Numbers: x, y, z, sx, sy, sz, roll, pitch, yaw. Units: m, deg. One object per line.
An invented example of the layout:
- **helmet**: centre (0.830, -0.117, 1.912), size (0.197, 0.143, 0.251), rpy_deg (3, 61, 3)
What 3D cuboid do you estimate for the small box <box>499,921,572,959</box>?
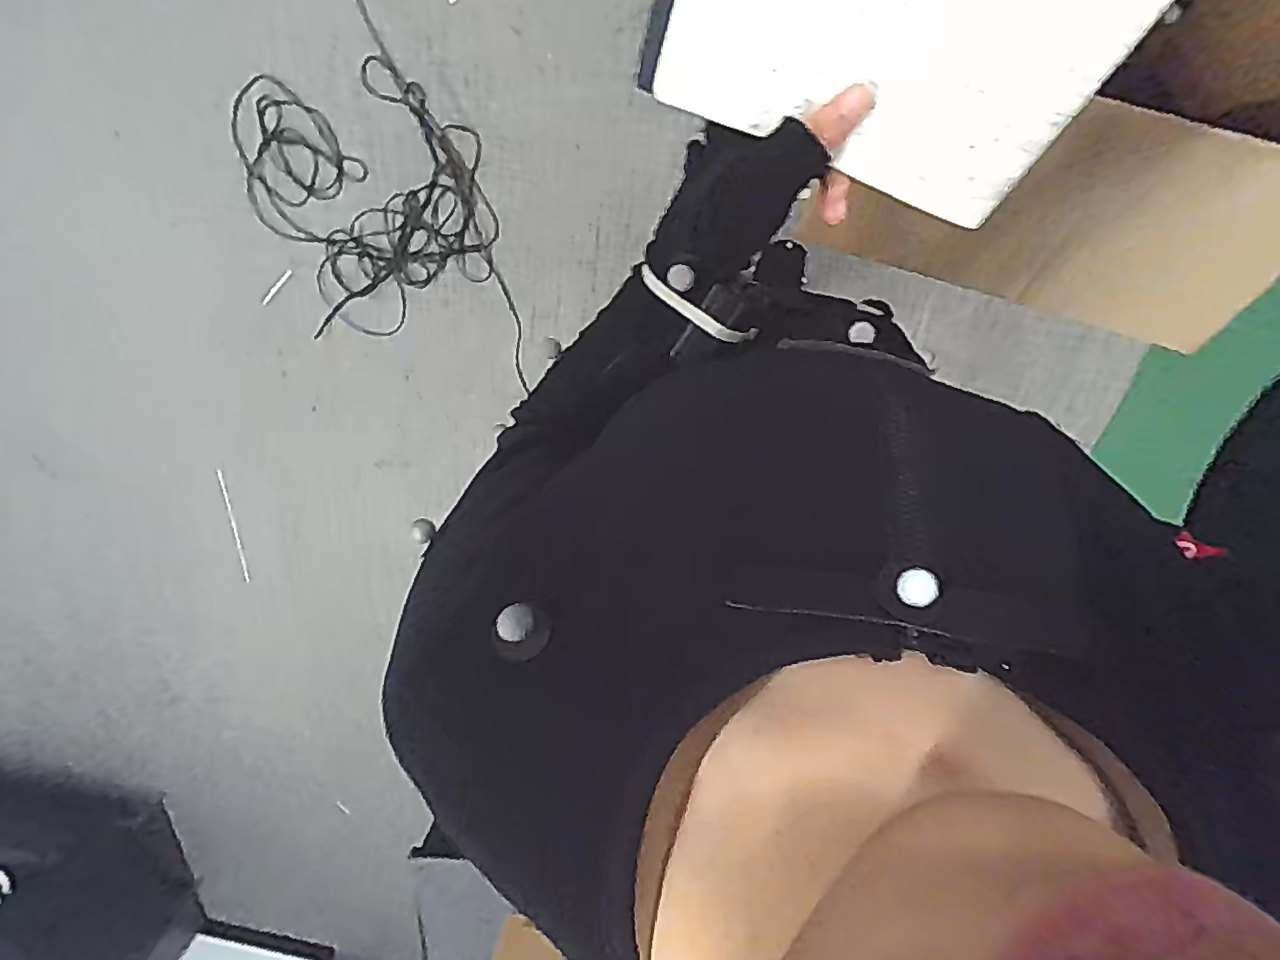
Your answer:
- **small box**: centre (-0.265, 1.218, 1.313), size (0.168, 0.176, 0.179), rpy_deg (9, 117, 4)
